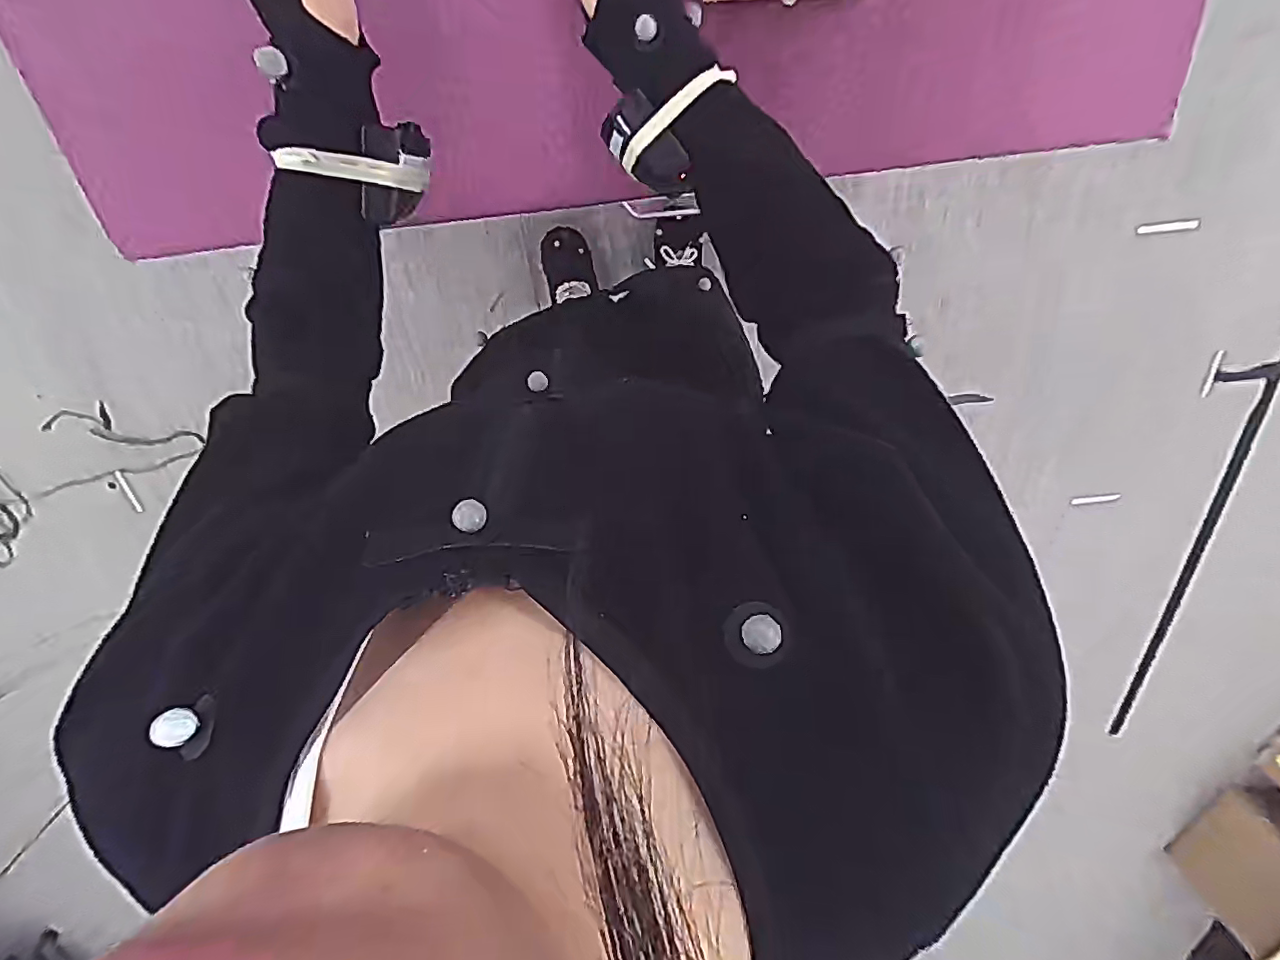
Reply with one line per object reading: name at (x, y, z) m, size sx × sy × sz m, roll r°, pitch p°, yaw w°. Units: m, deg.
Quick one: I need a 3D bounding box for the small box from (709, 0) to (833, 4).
small box at (0.137, -0.526, 0.437) m, size 0.168 × 0.176 × 0.179 m, roll -3°, pitch 118°, yaw -1°
